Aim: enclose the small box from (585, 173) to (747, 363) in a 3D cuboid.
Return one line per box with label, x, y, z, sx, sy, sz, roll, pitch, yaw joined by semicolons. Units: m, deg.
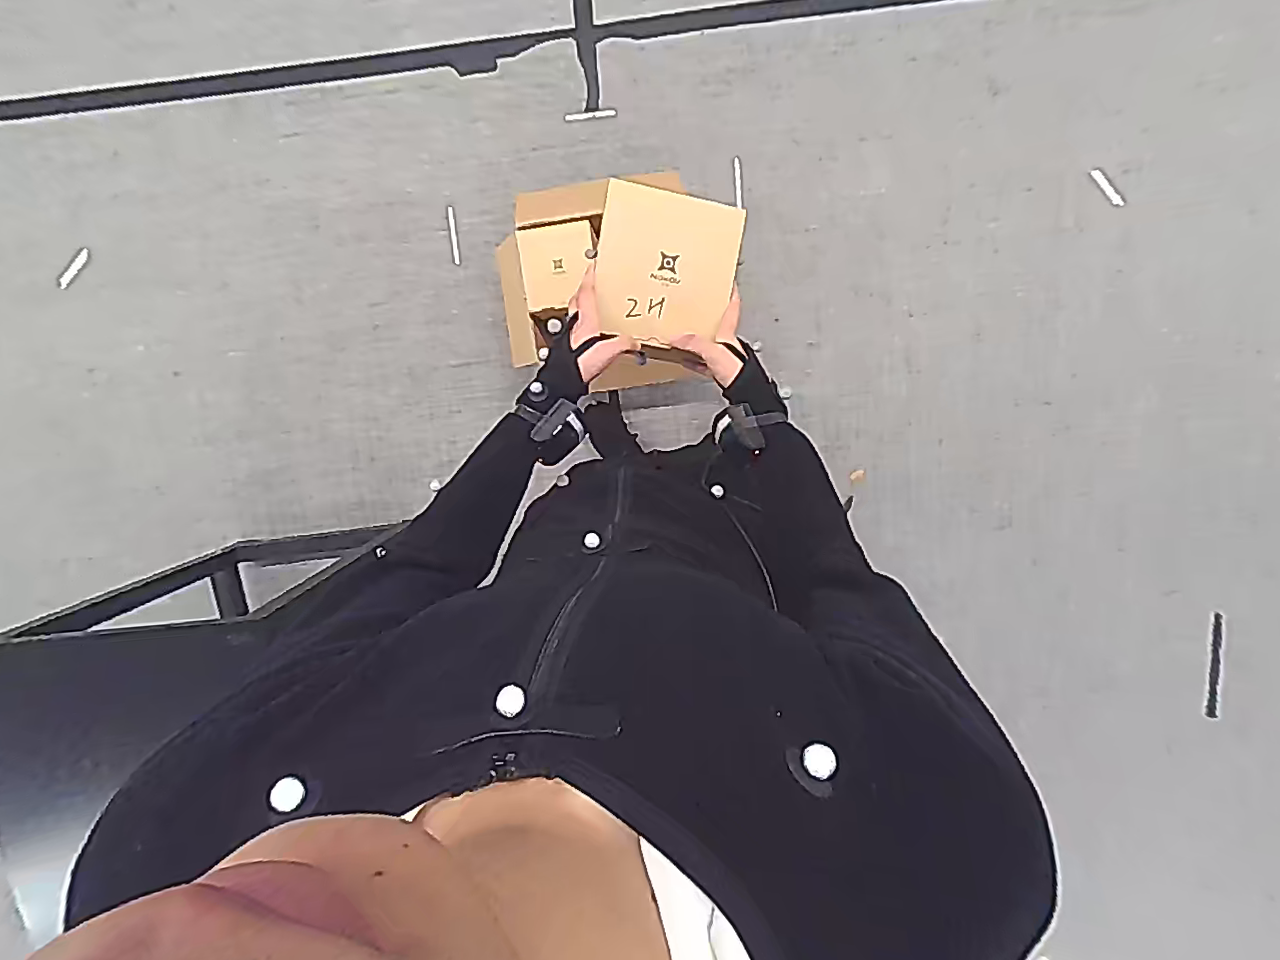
small box;0.022;-0.258;0.703;0.168;0.176;0.179;9;98;-7
